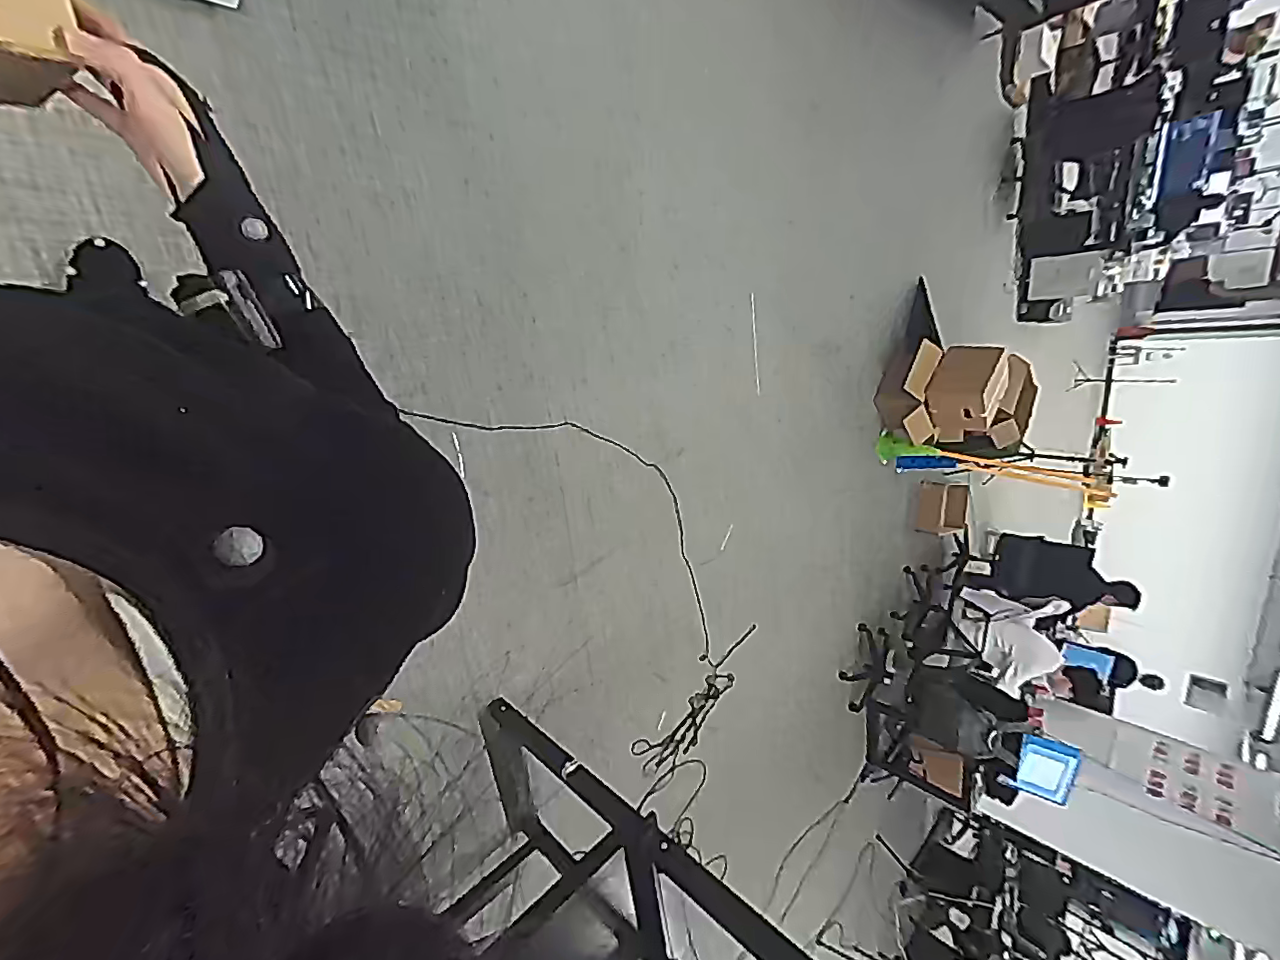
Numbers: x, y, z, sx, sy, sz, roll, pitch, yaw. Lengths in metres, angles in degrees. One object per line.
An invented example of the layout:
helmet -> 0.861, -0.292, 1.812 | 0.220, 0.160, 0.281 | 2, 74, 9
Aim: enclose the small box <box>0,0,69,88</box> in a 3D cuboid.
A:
small box -> -0.418, -0.310, 0.247 | 0.168, 0.176, 0.179 | -26, 123, -49
